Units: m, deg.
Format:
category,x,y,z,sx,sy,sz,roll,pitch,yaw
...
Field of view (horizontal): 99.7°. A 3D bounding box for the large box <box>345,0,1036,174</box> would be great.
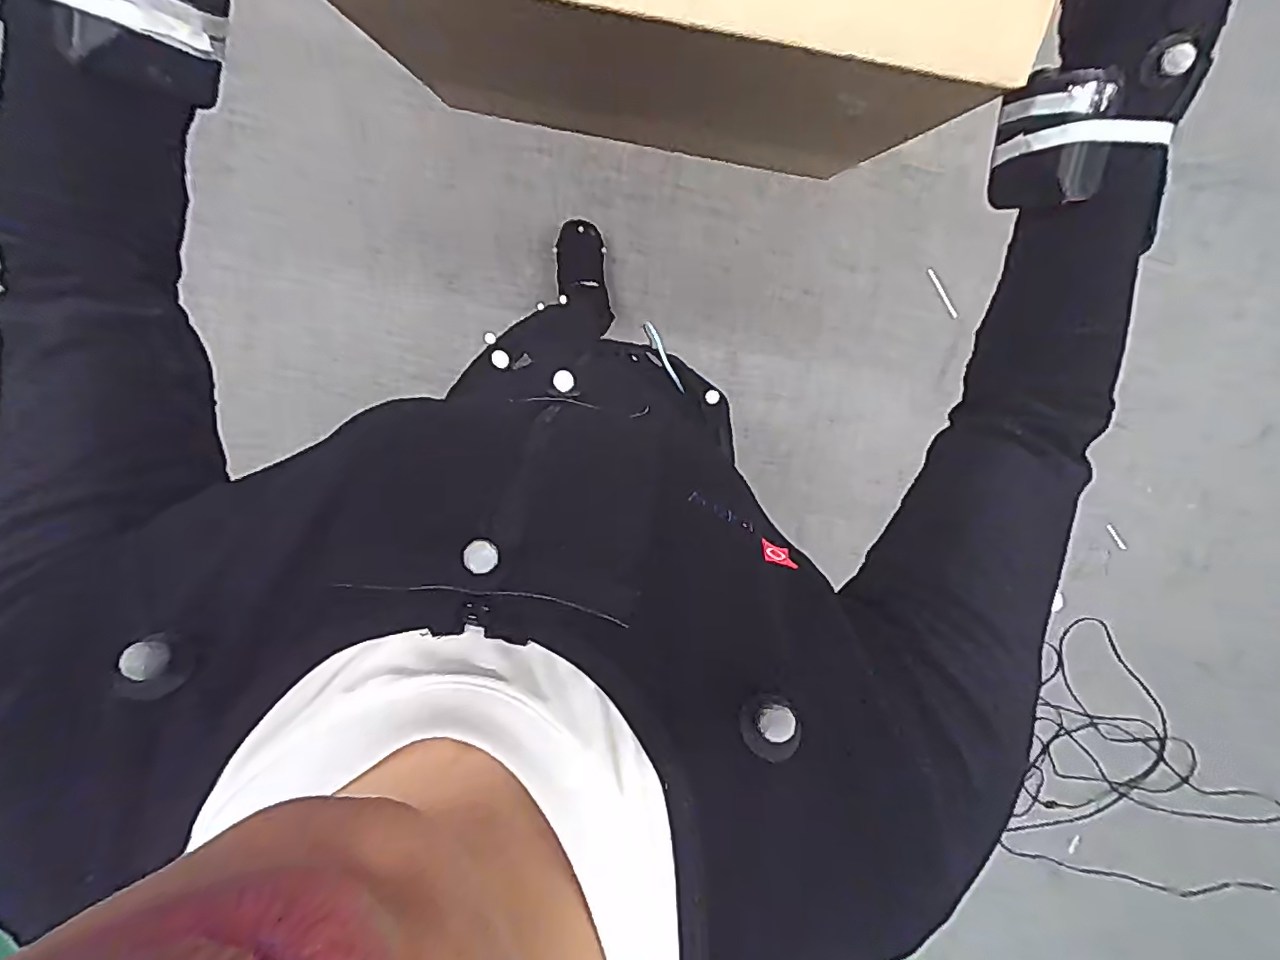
category,x,y,z,sx,sy,sz,roll,pitch,yaw
large box,0.030,-0.440,0.378,0.408,0.320,0.320,8,111,-4
